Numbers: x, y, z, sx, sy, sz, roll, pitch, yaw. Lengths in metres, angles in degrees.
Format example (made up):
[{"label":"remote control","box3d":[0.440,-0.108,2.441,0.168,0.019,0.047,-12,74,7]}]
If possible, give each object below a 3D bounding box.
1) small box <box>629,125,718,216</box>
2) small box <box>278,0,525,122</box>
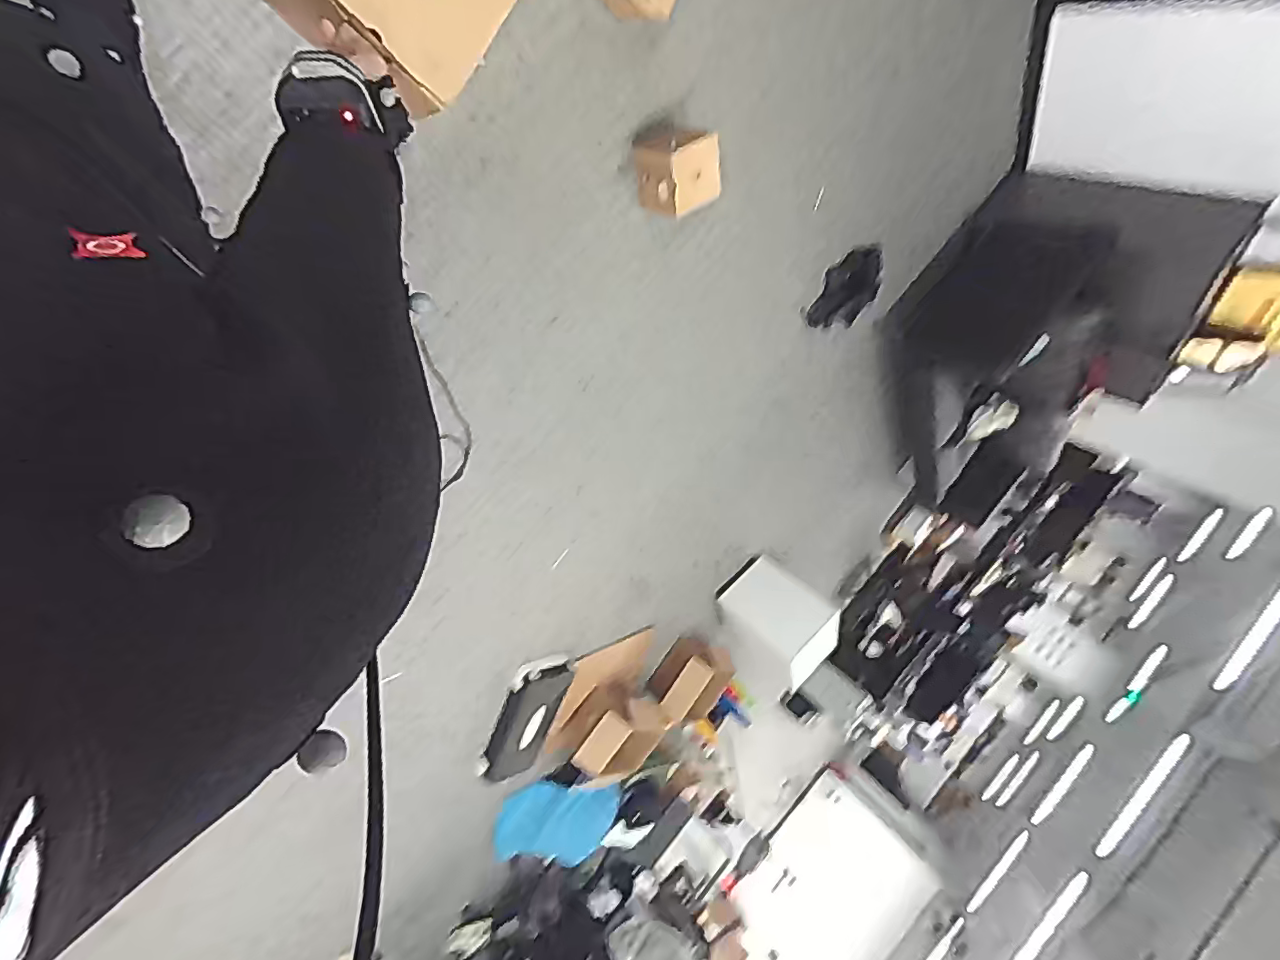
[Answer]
[{"label":"small box","box3d":[0.096,-0.874,1.518,0.179,0.176,0.168,-37,141,-20]},{"label":"small box","box3d":[-0.248,-0.507,0.556,0.168,0.176,0.179,32,88,-47]}]
